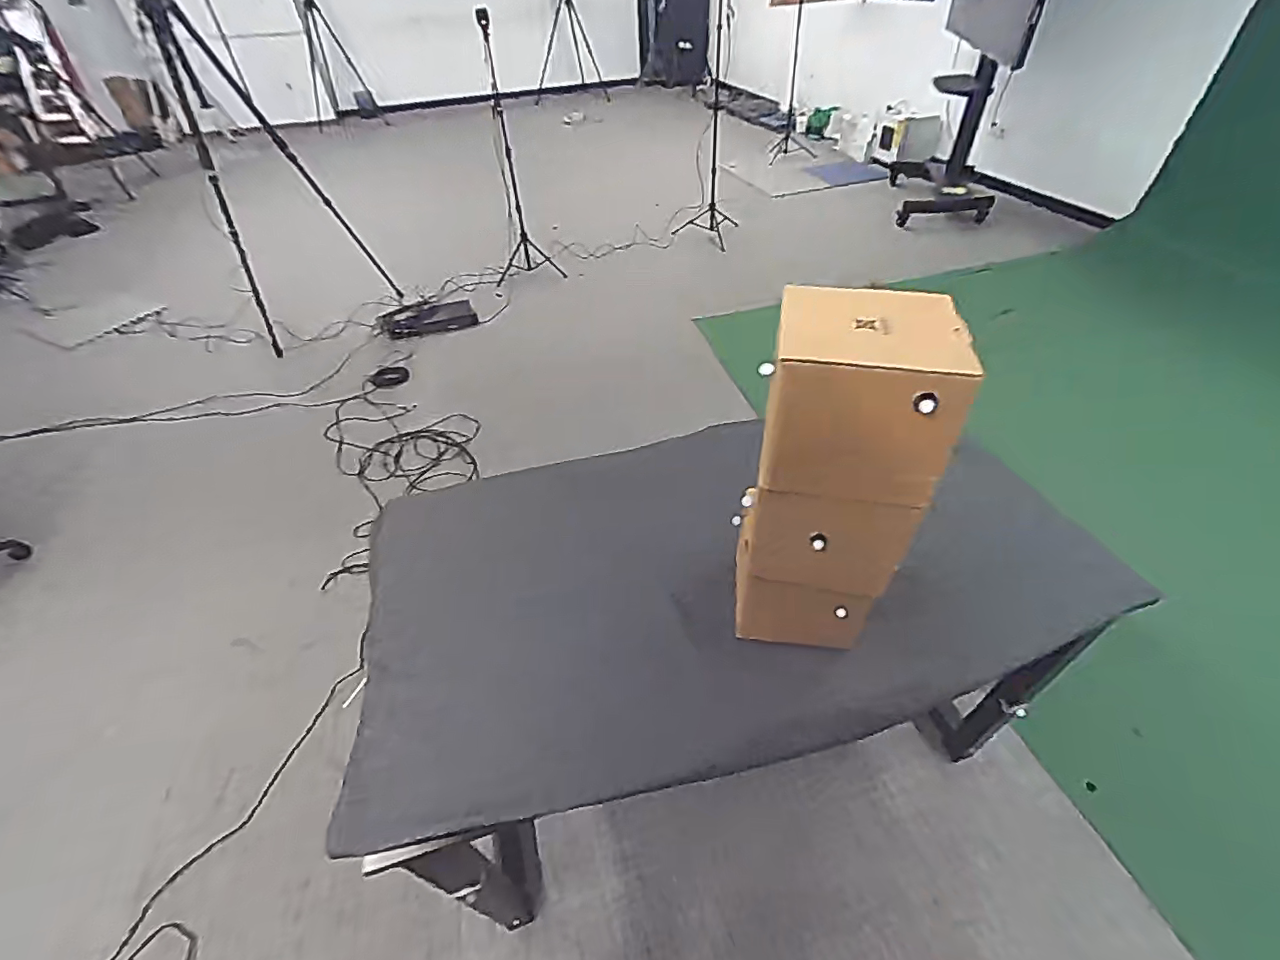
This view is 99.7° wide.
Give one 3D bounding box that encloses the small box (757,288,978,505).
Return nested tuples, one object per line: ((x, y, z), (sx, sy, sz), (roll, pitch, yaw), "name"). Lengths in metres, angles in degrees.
((0.225, -0.091, 0.586), (0.179, 0.176, 0.168), (7, 44, 10), "small box")

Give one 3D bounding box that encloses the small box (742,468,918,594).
((0.235, 0.026, 0.699), (0.179, 0.176, 0.168), (8, 44, 12), "small box")
